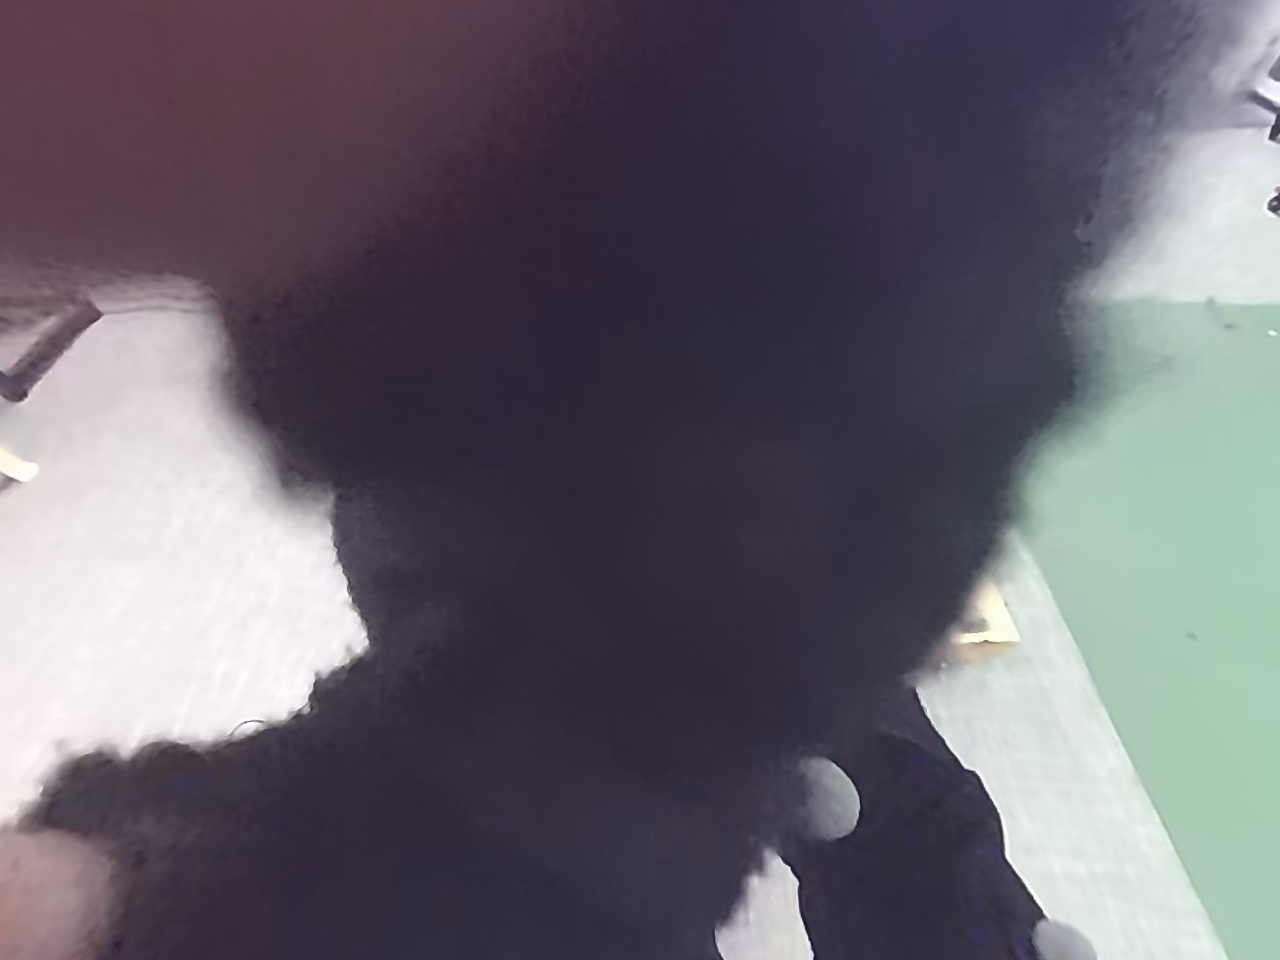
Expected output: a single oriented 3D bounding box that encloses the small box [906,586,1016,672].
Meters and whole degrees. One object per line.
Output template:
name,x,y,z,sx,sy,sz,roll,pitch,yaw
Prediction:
small box,0.820,0.391,1.402,0.168,0.176,0.179,-1,52,1
